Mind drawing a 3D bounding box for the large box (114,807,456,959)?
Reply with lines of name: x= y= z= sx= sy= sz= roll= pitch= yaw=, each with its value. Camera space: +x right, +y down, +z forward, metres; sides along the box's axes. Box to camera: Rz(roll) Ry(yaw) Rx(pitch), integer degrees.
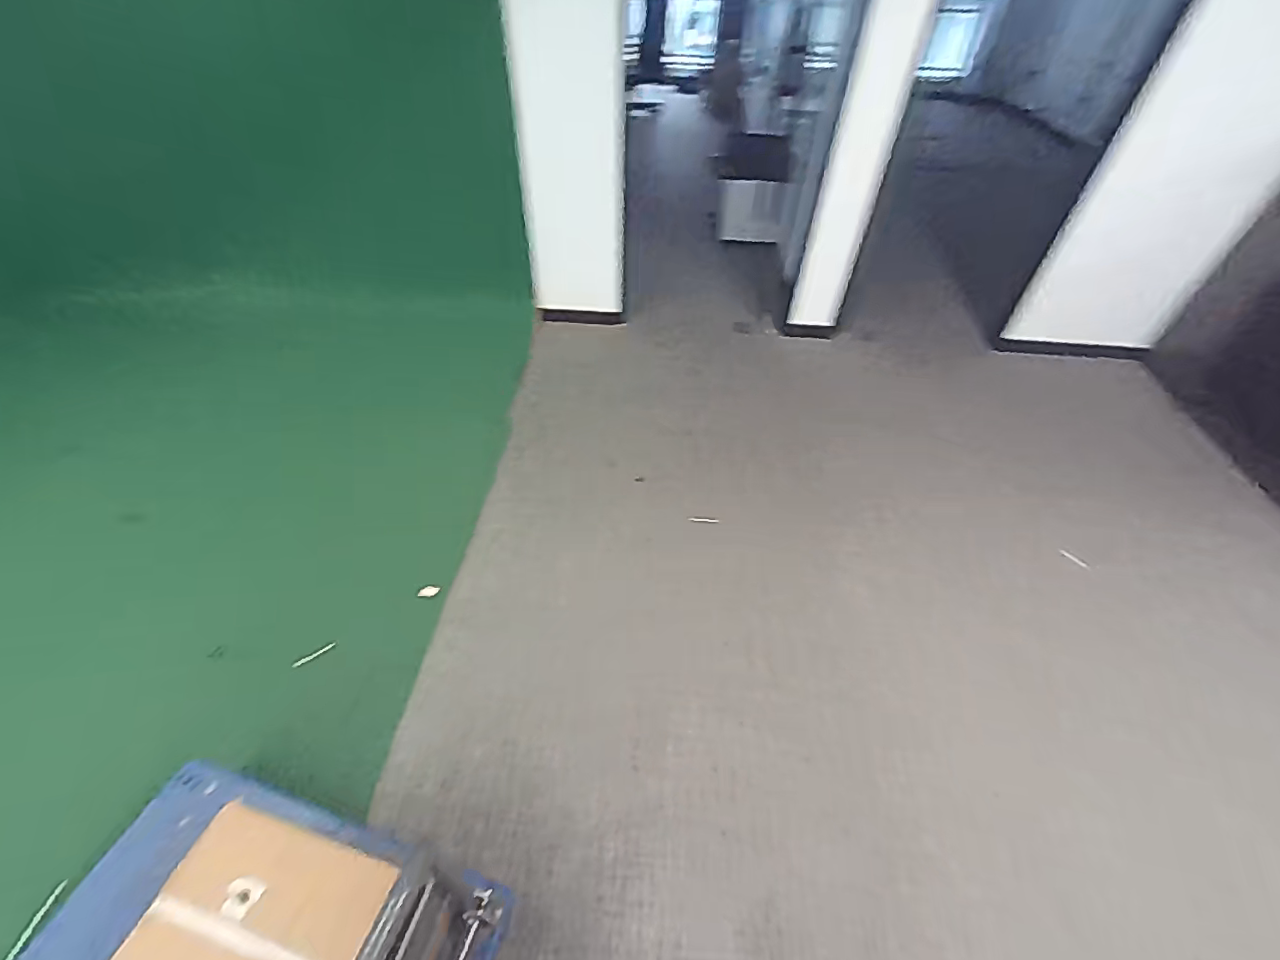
large box: x=-0.605 y=0.841 z=0.954 sx=0.408 sy=0.320 sz=0.320 roll=13 pitch=46 yaw=10
